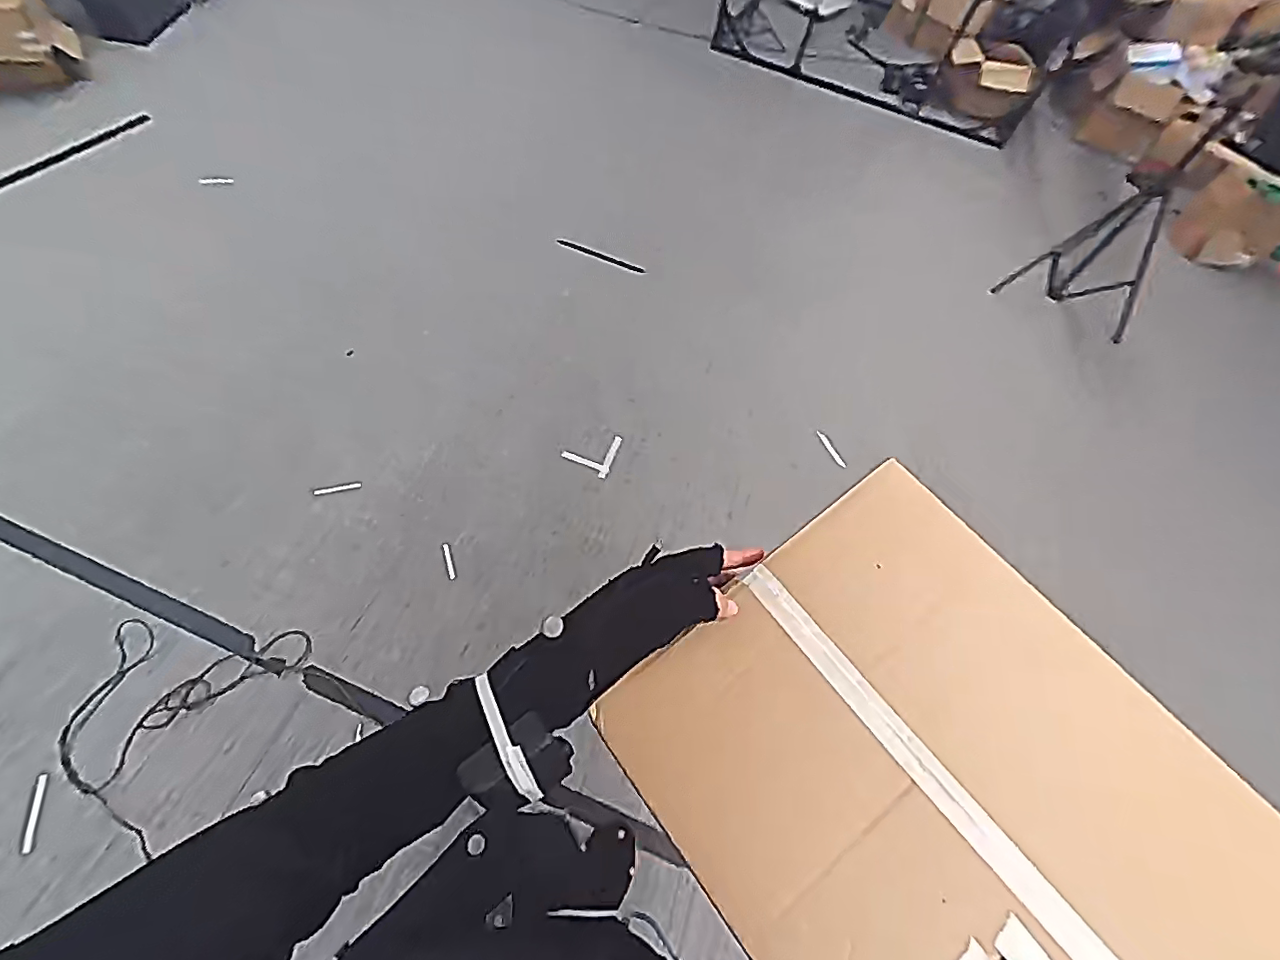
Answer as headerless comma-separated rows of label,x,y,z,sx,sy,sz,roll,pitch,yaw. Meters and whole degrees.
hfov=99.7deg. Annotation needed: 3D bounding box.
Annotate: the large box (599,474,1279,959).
large box,0.210,0.276,0.496,0.320,0.320,0.408,-36,71,-13
